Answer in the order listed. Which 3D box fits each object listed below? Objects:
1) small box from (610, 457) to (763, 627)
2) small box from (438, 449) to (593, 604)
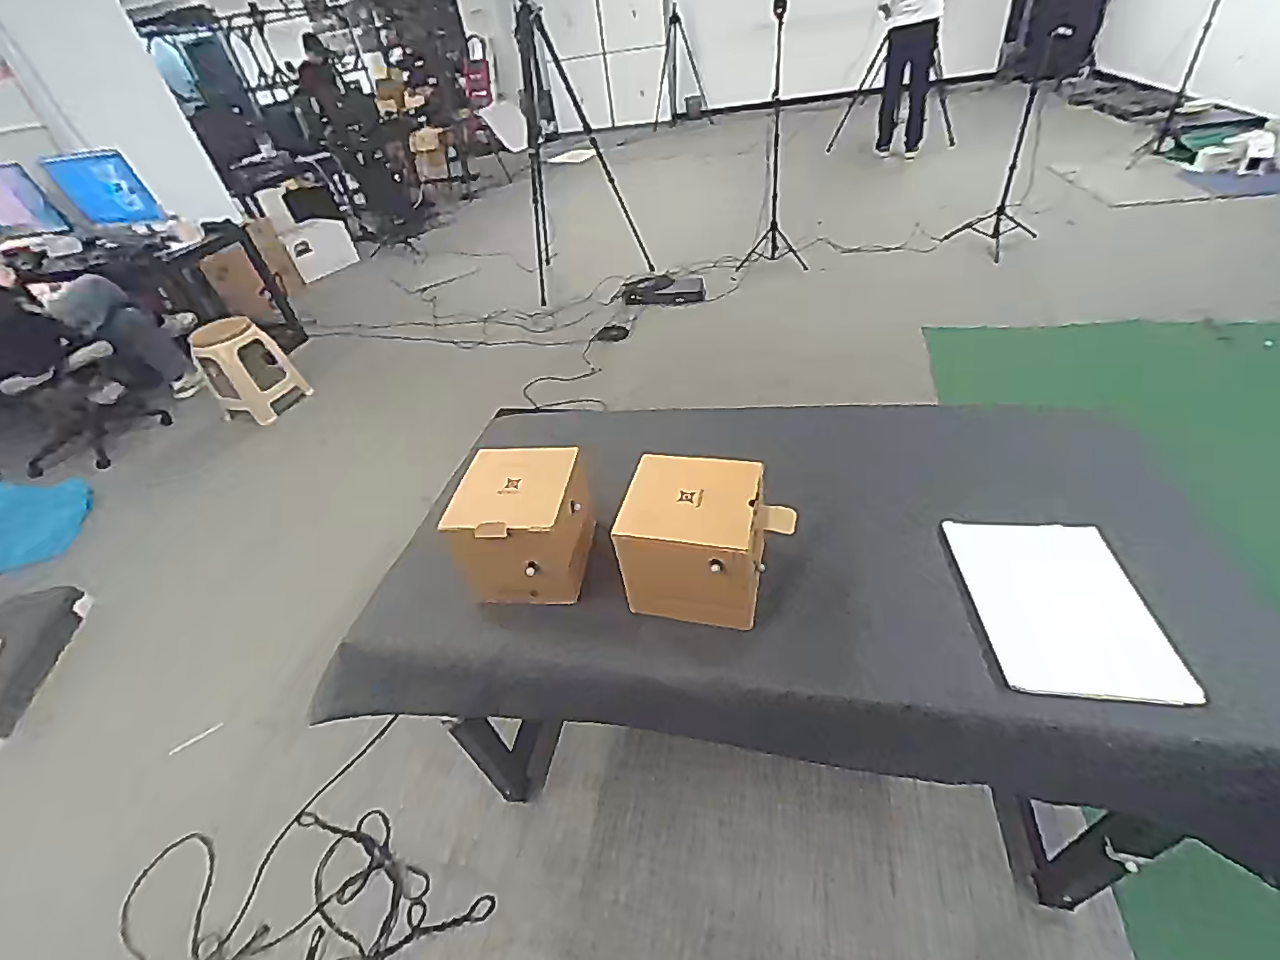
[{"bbox_3d":[0.075,0.086,0.763,0.179,0.176,0.168,5,42,16],"label":"small box"},{"bbox_3d":[-0.175,0.072,0.829,0.168,0.176,0.179,-1,40,9],"label":"small box"}]
